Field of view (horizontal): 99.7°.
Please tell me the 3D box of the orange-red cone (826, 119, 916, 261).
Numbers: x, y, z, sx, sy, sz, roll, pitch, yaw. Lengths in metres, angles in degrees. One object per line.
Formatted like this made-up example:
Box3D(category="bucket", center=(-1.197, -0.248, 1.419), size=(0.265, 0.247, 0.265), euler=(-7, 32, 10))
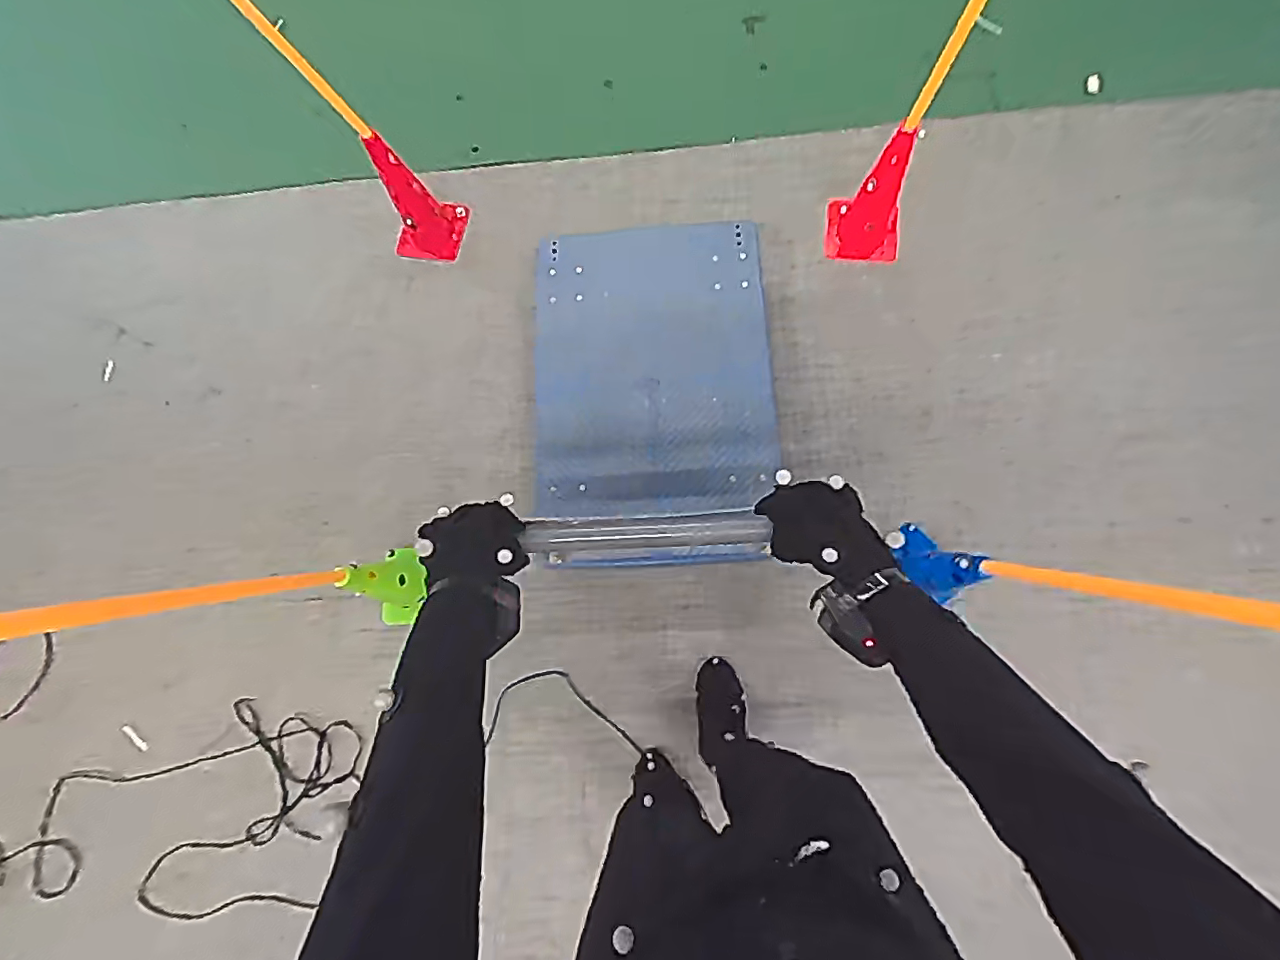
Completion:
Box3D(category="orange-red cone", center=(0.626, -0.759, 1.392), size=(0.198, 0.360, 0.199), euler=(7, 78, 7))
